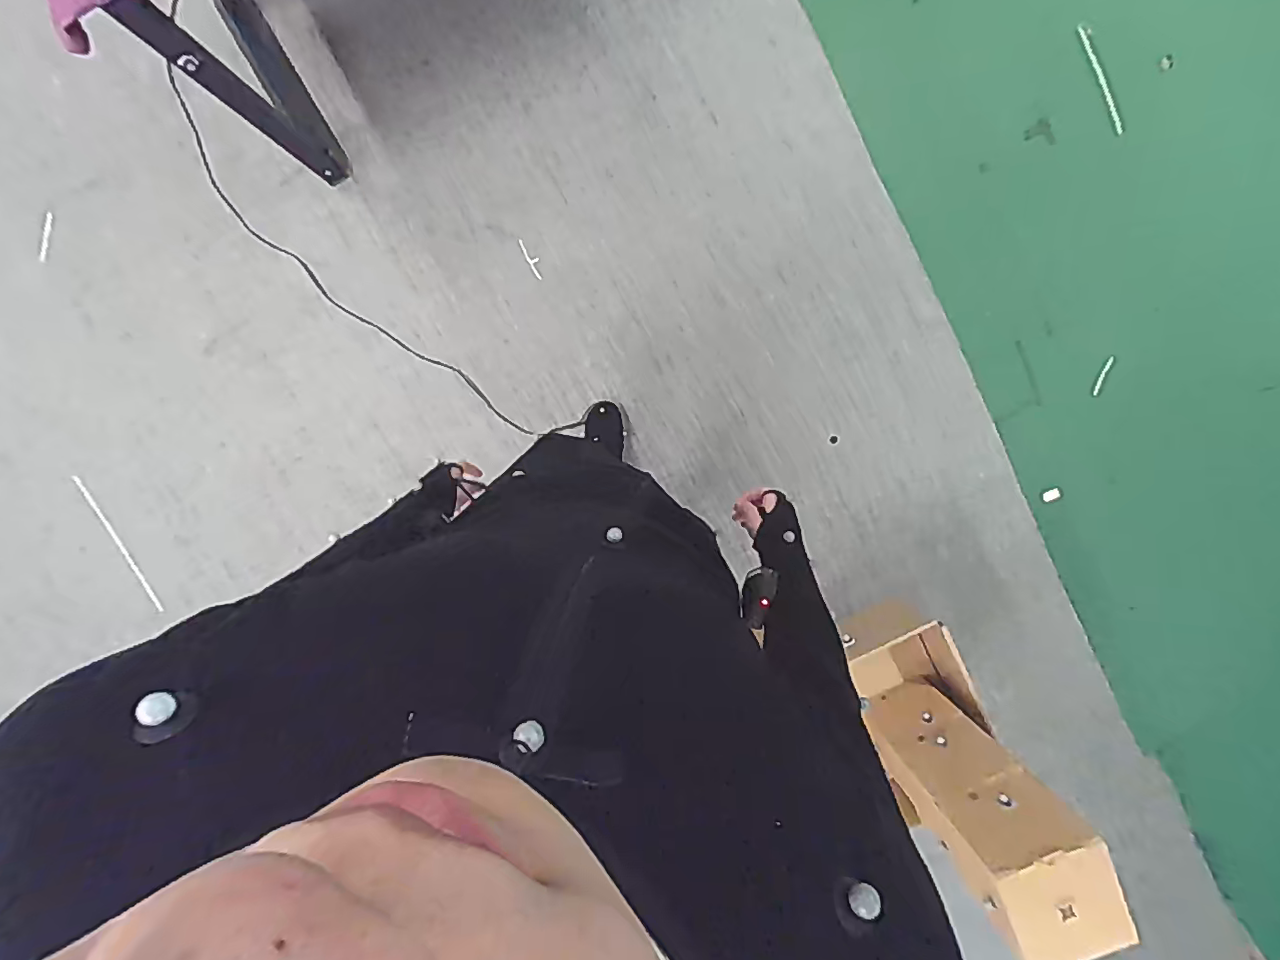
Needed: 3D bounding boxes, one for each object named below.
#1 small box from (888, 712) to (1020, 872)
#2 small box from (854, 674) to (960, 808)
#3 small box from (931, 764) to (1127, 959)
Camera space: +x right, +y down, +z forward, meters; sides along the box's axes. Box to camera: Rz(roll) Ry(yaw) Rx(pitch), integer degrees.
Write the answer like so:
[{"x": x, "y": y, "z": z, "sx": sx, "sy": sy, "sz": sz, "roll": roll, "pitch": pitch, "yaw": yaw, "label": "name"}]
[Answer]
[{"x": 0.608, "y": 0.583, "z": 1.027, "sx": 0.168, "sy": 0.176, "sz": 0.179, "roll": -23, "pitch": 96, "yaw": 1, "label": "small box"}, {"x": 0.606, "y": 0.566, "z": 1.190, "sx": 0.168, "sy": 0.176, "sz": 0.179, "roll": -26, "pitch": 96, "yaw": 1, "label": "small box"}, {"x": 0.608, "y": 0.602, "z": 0.866, "sx": 0.168, "sy": 0.176, "sz": 0.179, "roll": -22, "pitch": 95, "yaw": 1, "label": "small box"}]
